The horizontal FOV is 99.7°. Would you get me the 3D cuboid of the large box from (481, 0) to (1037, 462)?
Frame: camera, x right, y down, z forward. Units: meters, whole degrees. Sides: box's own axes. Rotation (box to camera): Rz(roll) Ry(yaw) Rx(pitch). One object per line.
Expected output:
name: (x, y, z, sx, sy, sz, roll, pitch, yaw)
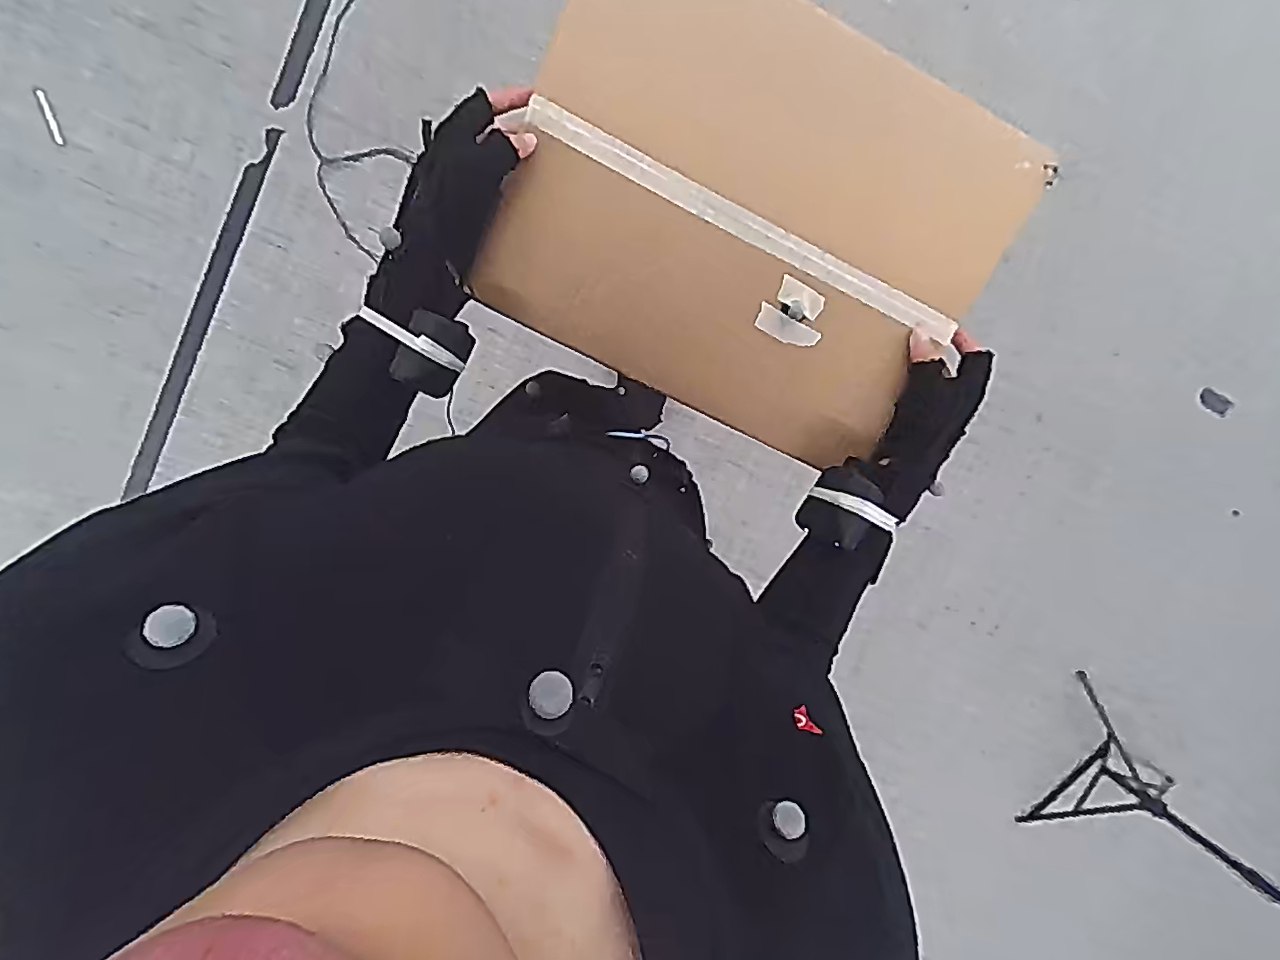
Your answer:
large box: (0.094, -0.269, 0.614, 0.408, 0.320, 0.320, 25, 106, -8)
